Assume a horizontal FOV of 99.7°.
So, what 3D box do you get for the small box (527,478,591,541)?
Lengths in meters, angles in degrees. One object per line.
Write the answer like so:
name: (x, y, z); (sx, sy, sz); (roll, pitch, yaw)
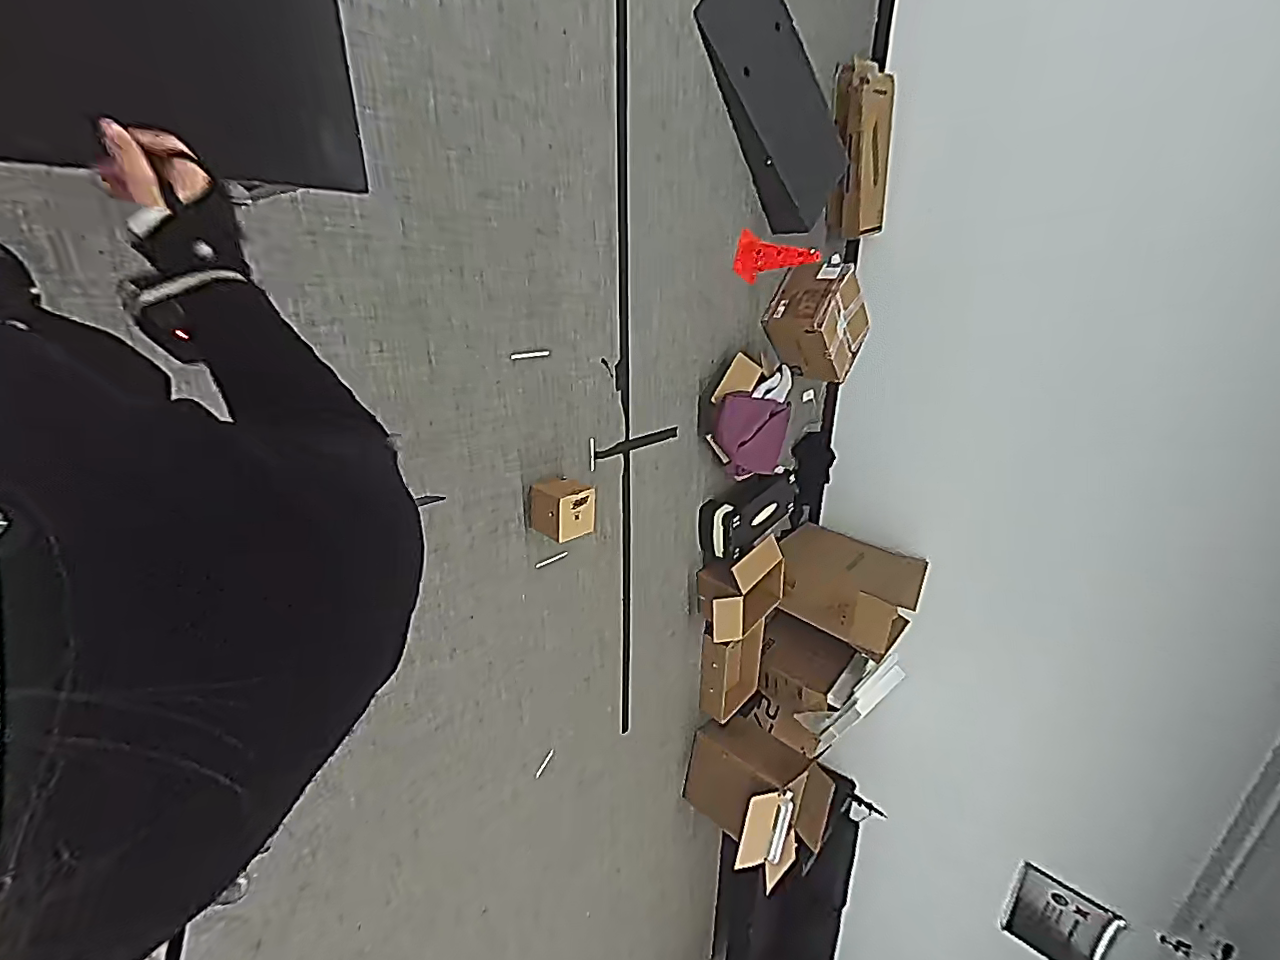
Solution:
small box: (-0.299, 0.099, 1.980); (0.168, 0.176, 0.179); (-17, 119, -45)
